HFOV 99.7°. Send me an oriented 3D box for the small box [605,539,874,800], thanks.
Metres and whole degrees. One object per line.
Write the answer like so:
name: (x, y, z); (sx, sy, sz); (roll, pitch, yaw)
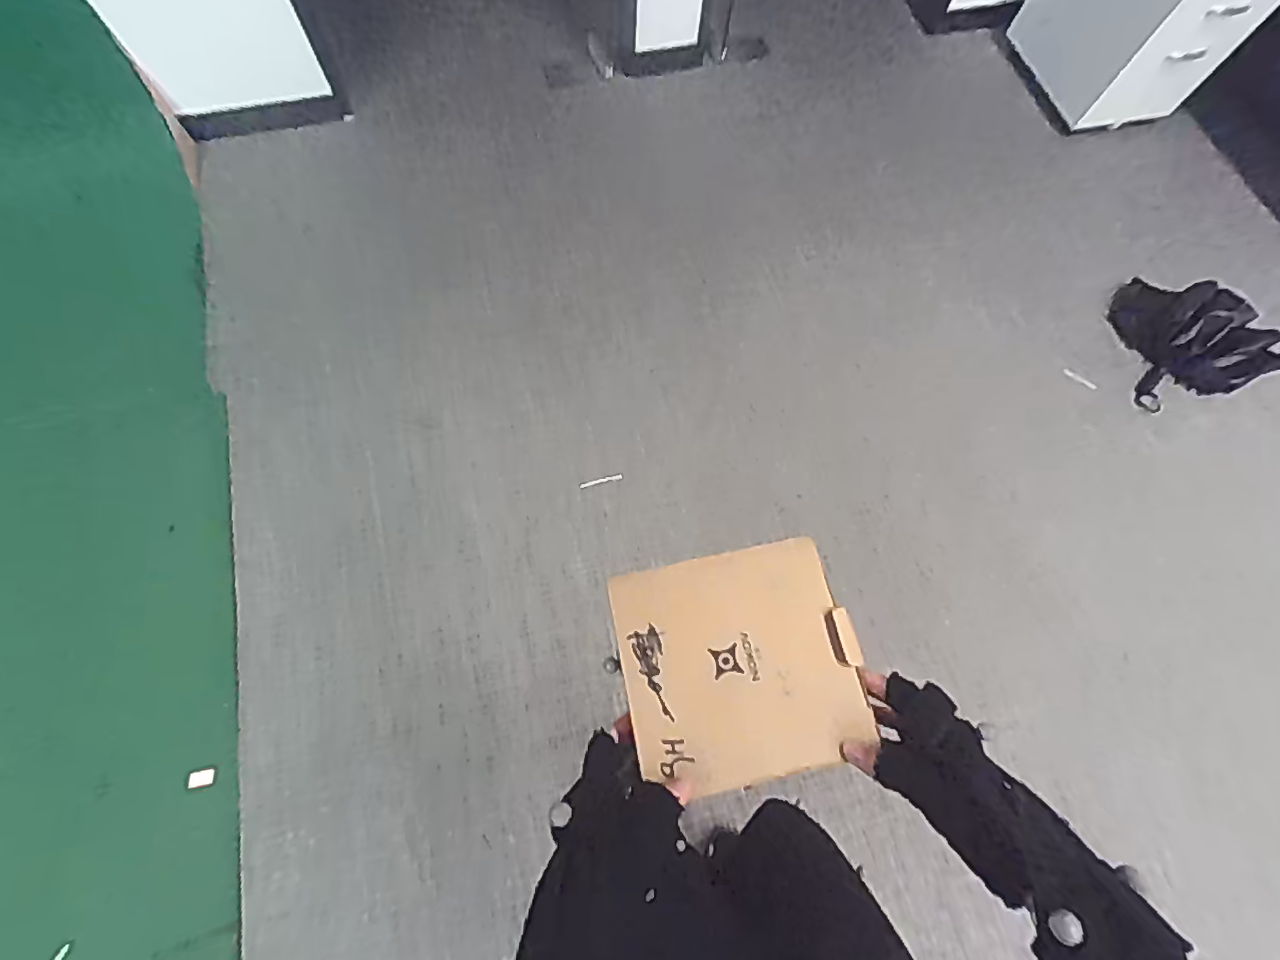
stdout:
small box: (0.071, 0.167, 0.485); (0.179, 0.176, 0.168); (-11, 66, -2)
